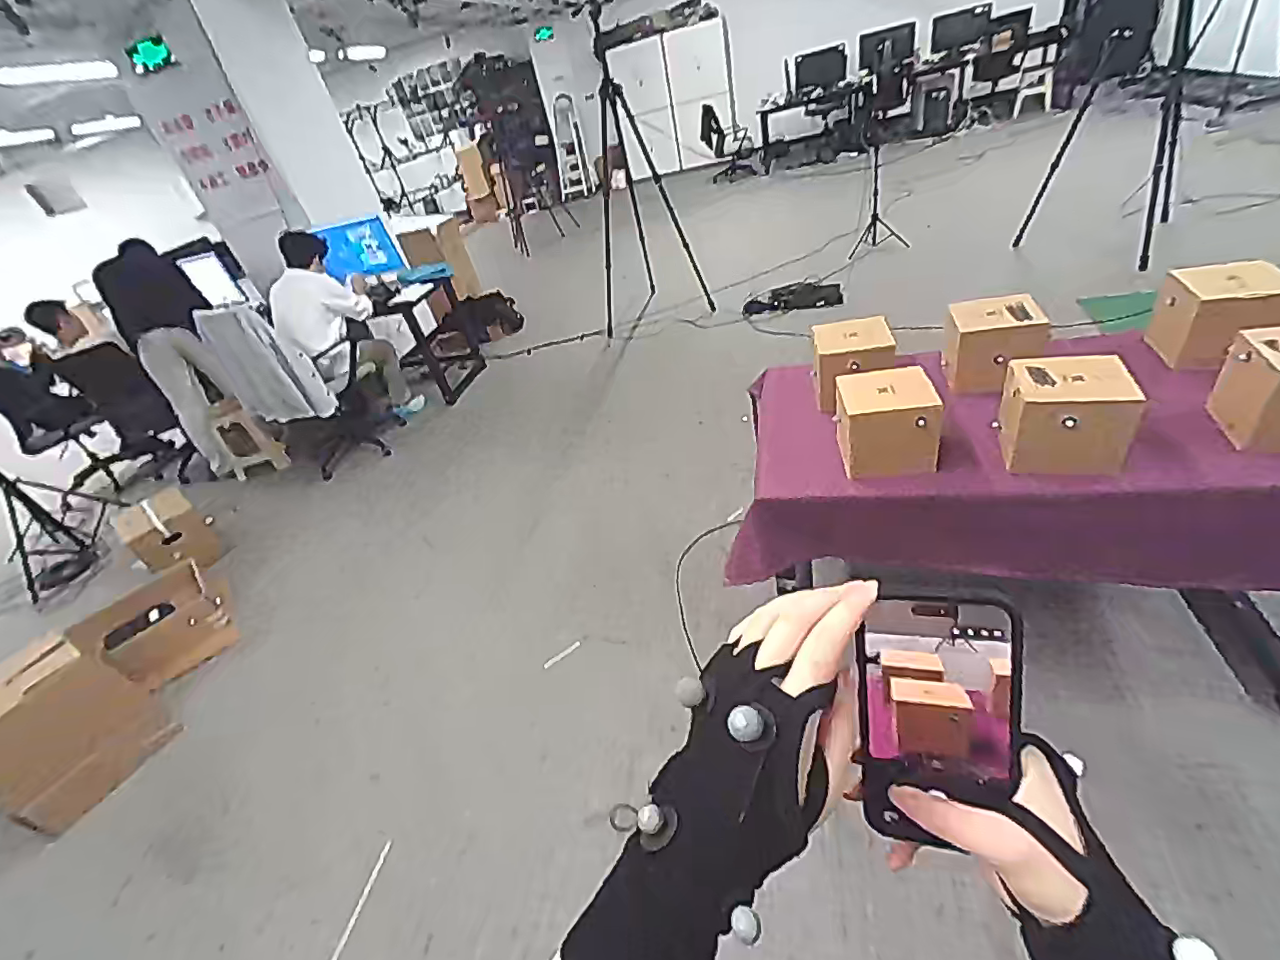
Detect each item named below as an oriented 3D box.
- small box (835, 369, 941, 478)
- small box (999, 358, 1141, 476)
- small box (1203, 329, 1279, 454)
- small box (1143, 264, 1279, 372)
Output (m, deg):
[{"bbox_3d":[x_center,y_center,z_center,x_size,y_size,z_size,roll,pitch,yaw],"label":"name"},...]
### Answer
[{"bbox_3d":[0.524,-0.117,1.164,0.179,0.176,0.168,-5,37,13],"label":"small box"},{"bbox_3d":[0.818,-0.121,1.054,0.179,0.176,0.168,2,40,23],"label":"small box"},{"bbox_3d":[1.176,-0.156,0.962,0.179,0.176,0.168,3,39,24],"label":"small box"},{"bbox_3d":[1.261,-0.354,1.191,0.168,0.176,0.179,0,39,22],"label":"small box"}]
